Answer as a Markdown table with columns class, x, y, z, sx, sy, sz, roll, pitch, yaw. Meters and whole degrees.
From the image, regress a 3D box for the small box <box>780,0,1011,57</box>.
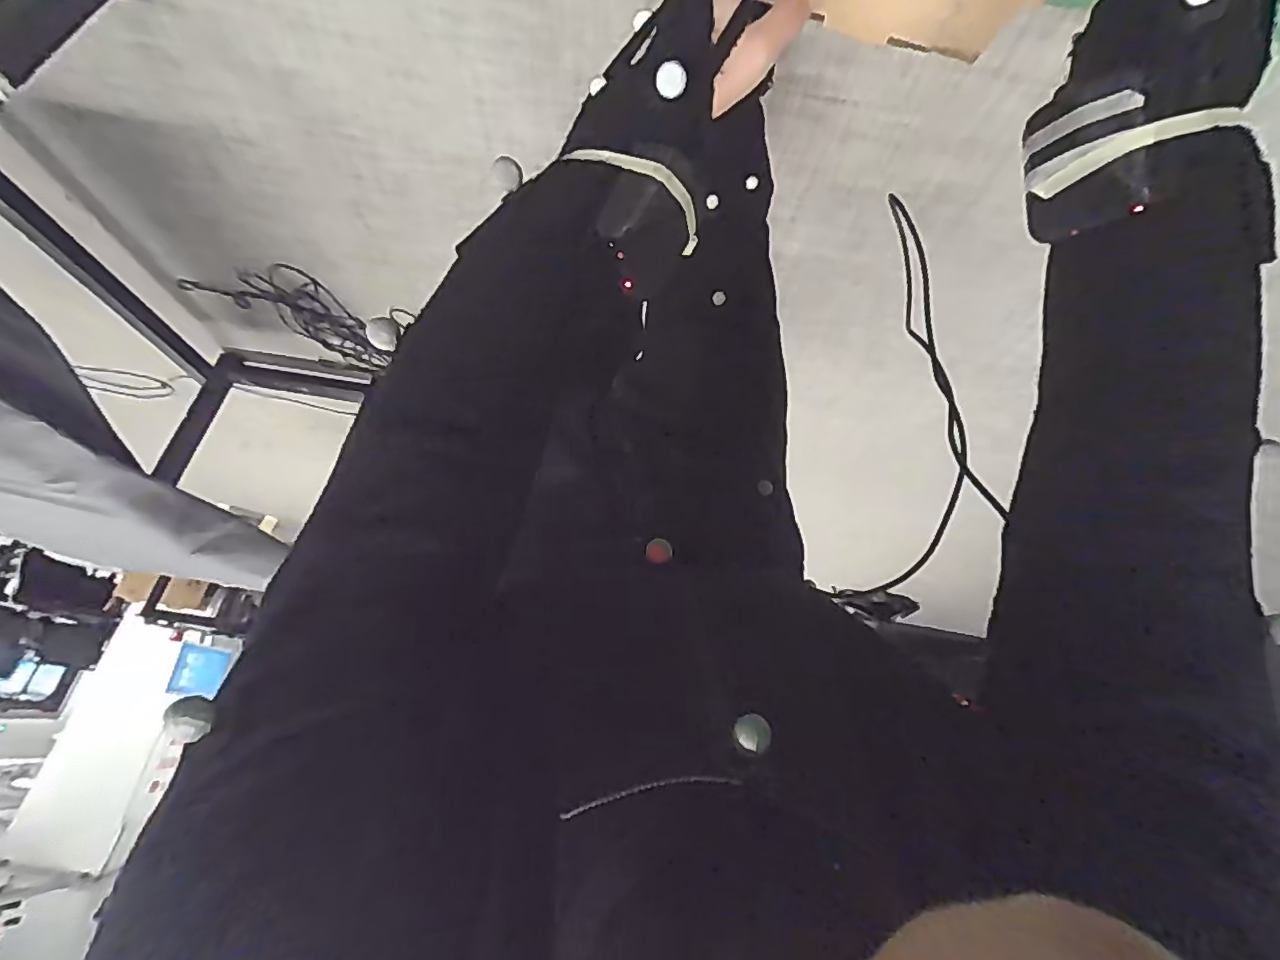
| class | x | y | z | sx | sy | sz | roll | pitch | yaw |
| --- | --- | --- | --- | --- | --- | --- | --- | --- | --- |
| small box | 0.162 | -0.393 | 0.295 | 0.168 | 0.176 | 0.179 | 12 | 155 | -5 |
